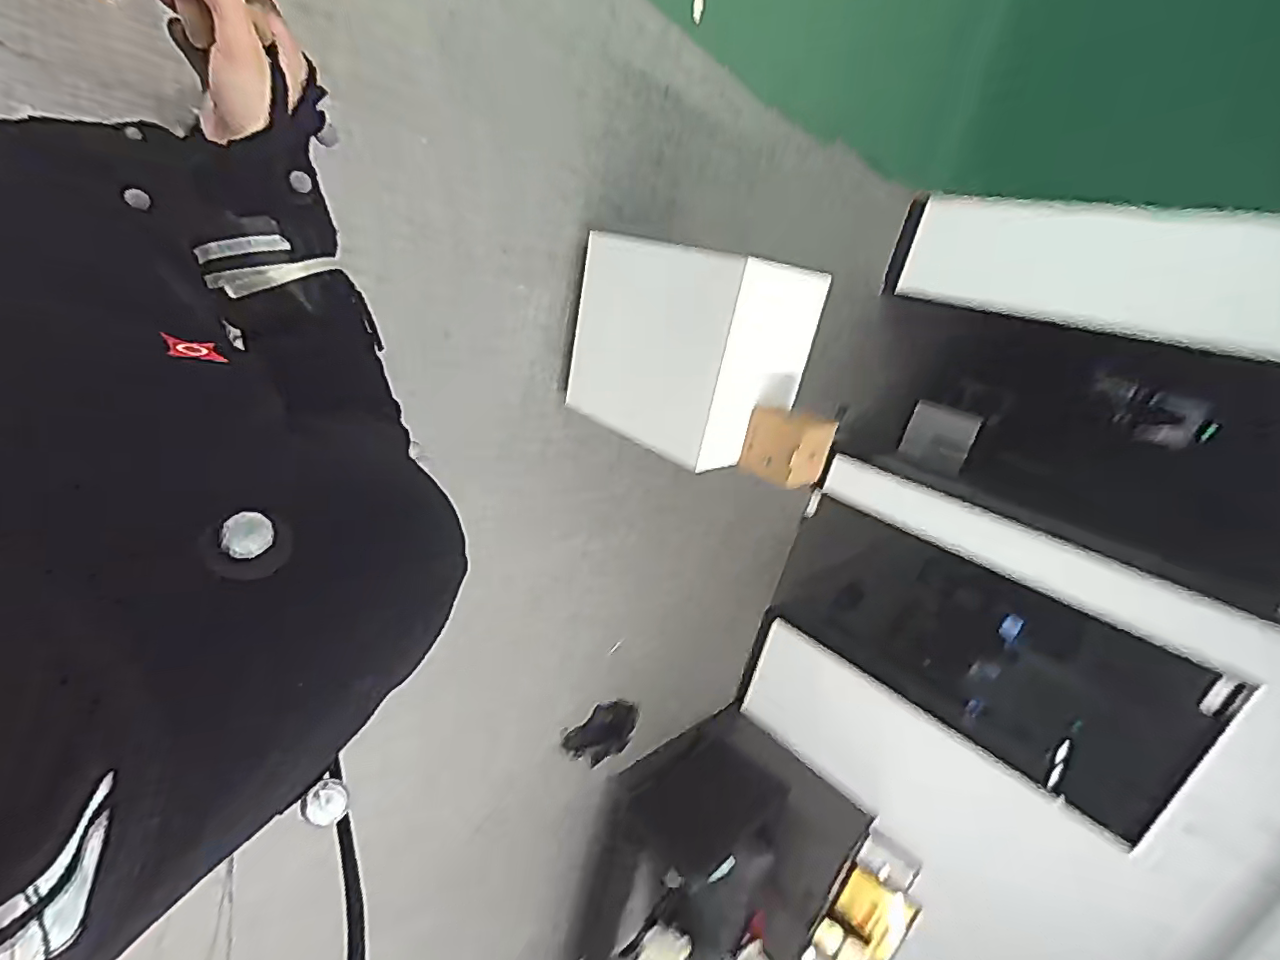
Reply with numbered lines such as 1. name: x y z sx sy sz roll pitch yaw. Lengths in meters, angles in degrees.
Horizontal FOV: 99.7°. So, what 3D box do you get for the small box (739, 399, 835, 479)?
1. small box: 0.396 -0.119 1.481 0.179 0.176 0.168 -13 123 -44
